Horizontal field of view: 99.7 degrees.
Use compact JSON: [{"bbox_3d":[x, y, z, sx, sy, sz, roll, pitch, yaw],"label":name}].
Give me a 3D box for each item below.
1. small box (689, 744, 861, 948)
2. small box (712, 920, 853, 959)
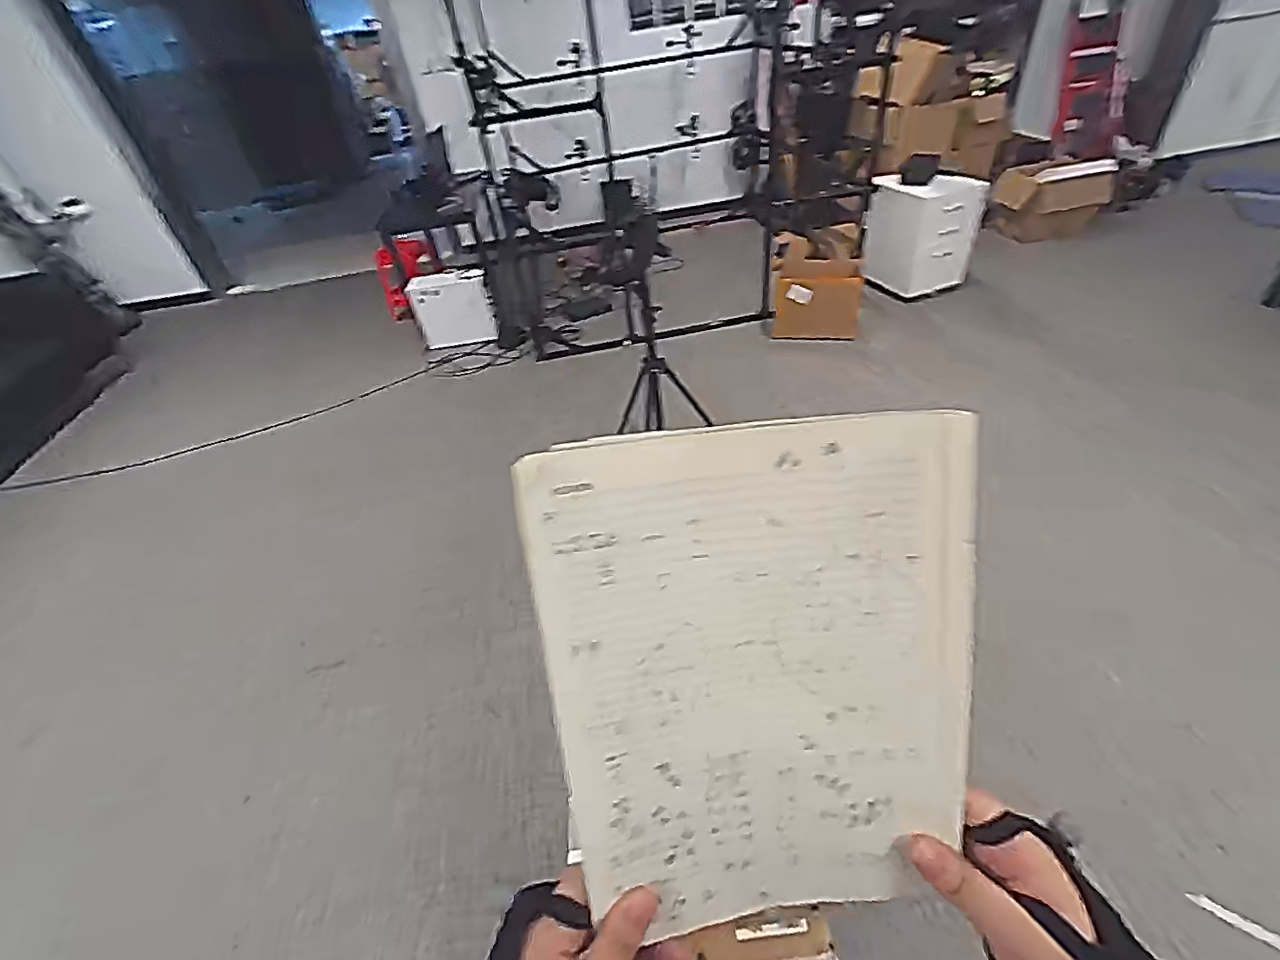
[{"bbox_3d":[0.152,0.460,0.682,0.168,0.176,0.179,-4,42,0],"label":"small box"},{"bbox_3d":[0.182,0.579,0.794,0.179,0.176,0.168,-8,41,-2],"label":"small box"}]
